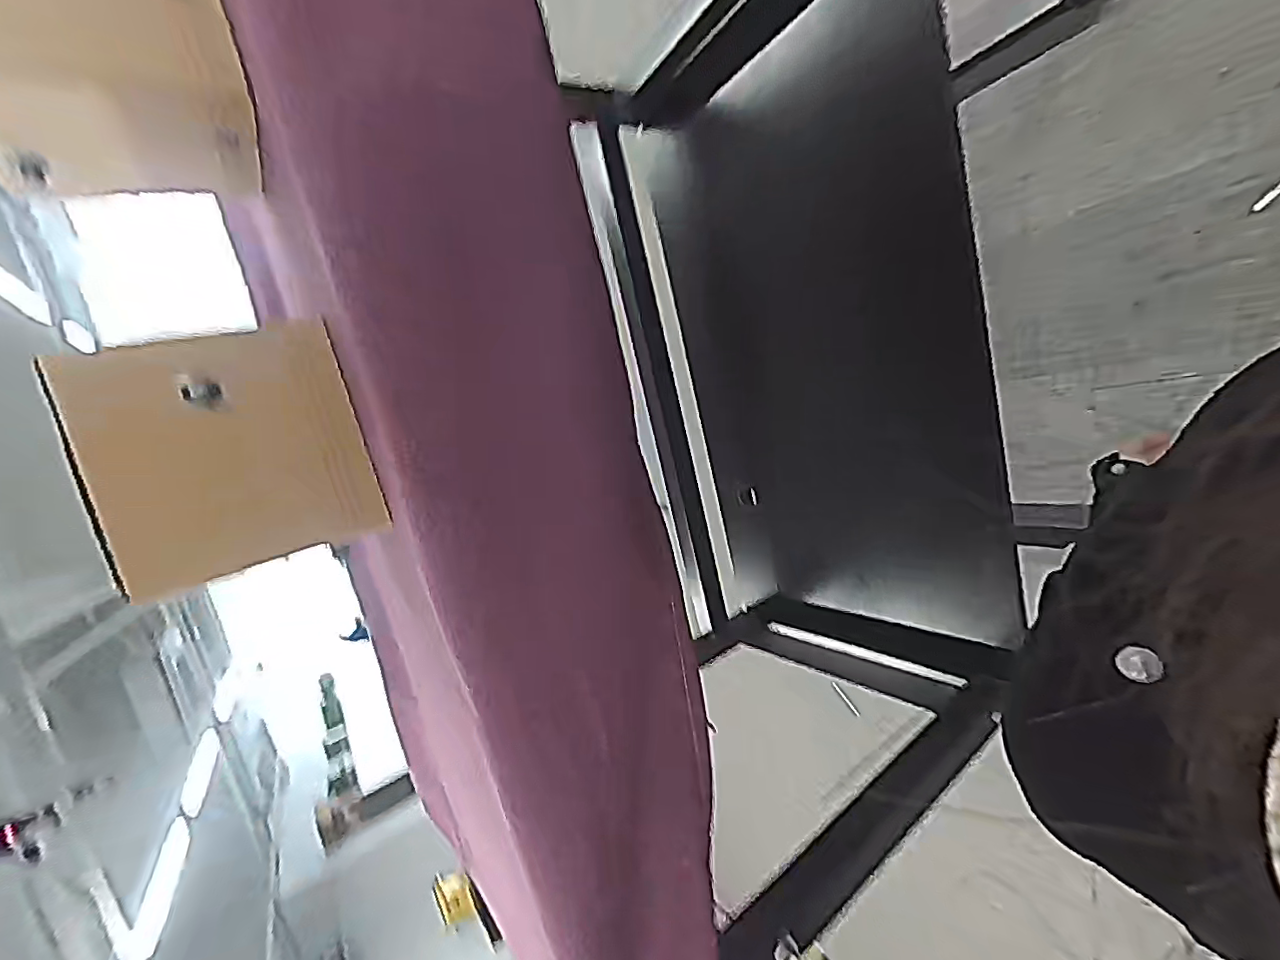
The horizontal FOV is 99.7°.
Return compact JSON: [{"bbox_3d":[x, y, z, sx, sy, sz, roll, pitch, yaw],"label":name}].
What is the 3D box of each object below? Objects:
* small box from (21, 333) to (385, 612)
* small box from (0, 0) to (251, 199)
[{"bbox_3d":[-0.333,-0.012,0.449,0.168,0.176,0.179,-11,97,59],"label":"small box"},{"bbox_3d":[-0.404,-0.322,0.386,0.168,0.176,0.179,0,106,58],"label":"small box"}]
